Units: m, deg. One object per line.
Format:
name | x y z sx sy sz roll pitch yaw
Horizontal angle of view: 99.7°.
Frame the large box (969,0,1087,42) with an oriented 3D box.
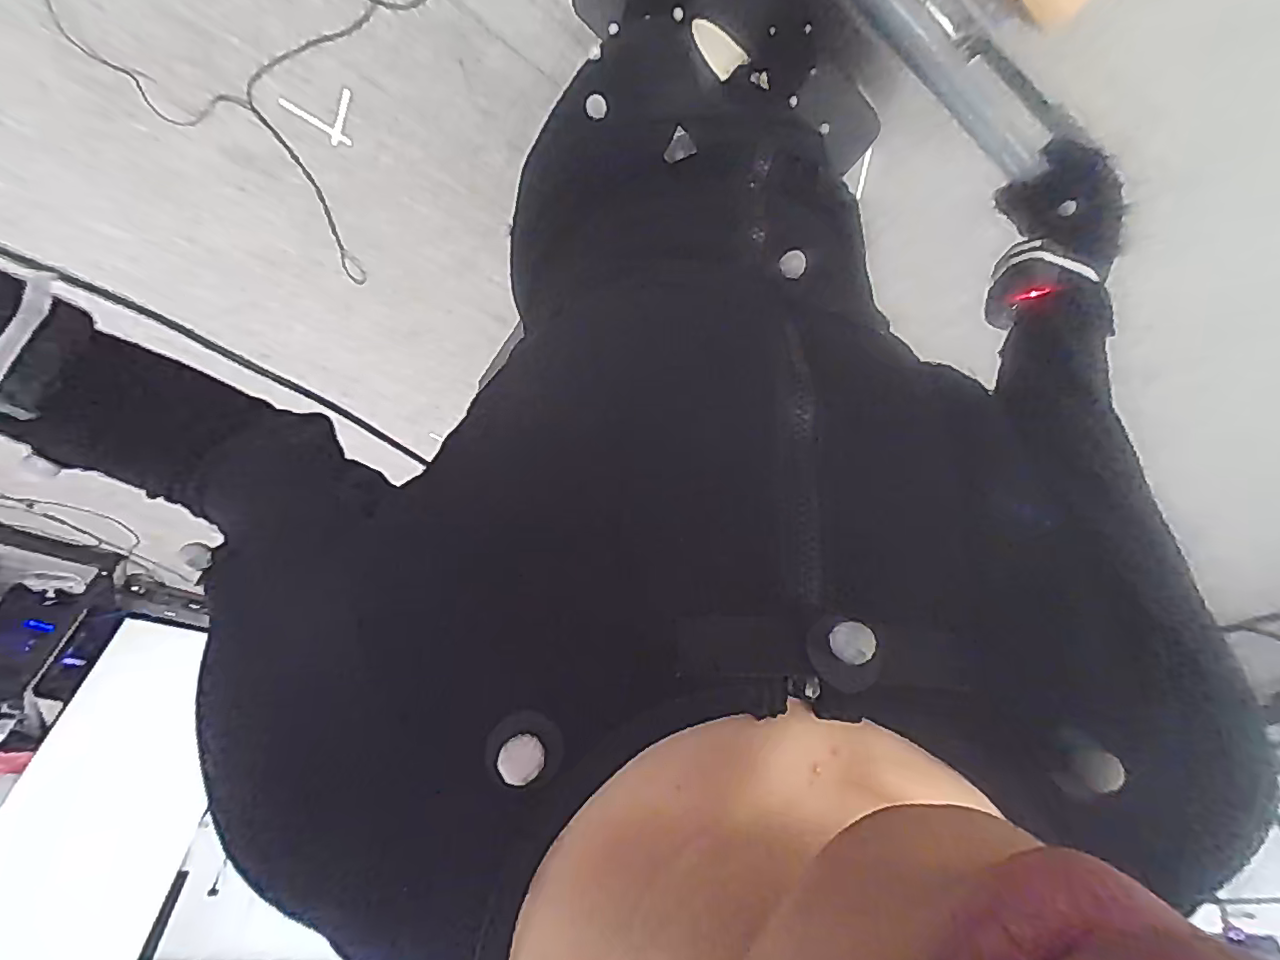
large box | 0.459 -0.849 0.639 0.408 0.320 0.320 22 137 -26
